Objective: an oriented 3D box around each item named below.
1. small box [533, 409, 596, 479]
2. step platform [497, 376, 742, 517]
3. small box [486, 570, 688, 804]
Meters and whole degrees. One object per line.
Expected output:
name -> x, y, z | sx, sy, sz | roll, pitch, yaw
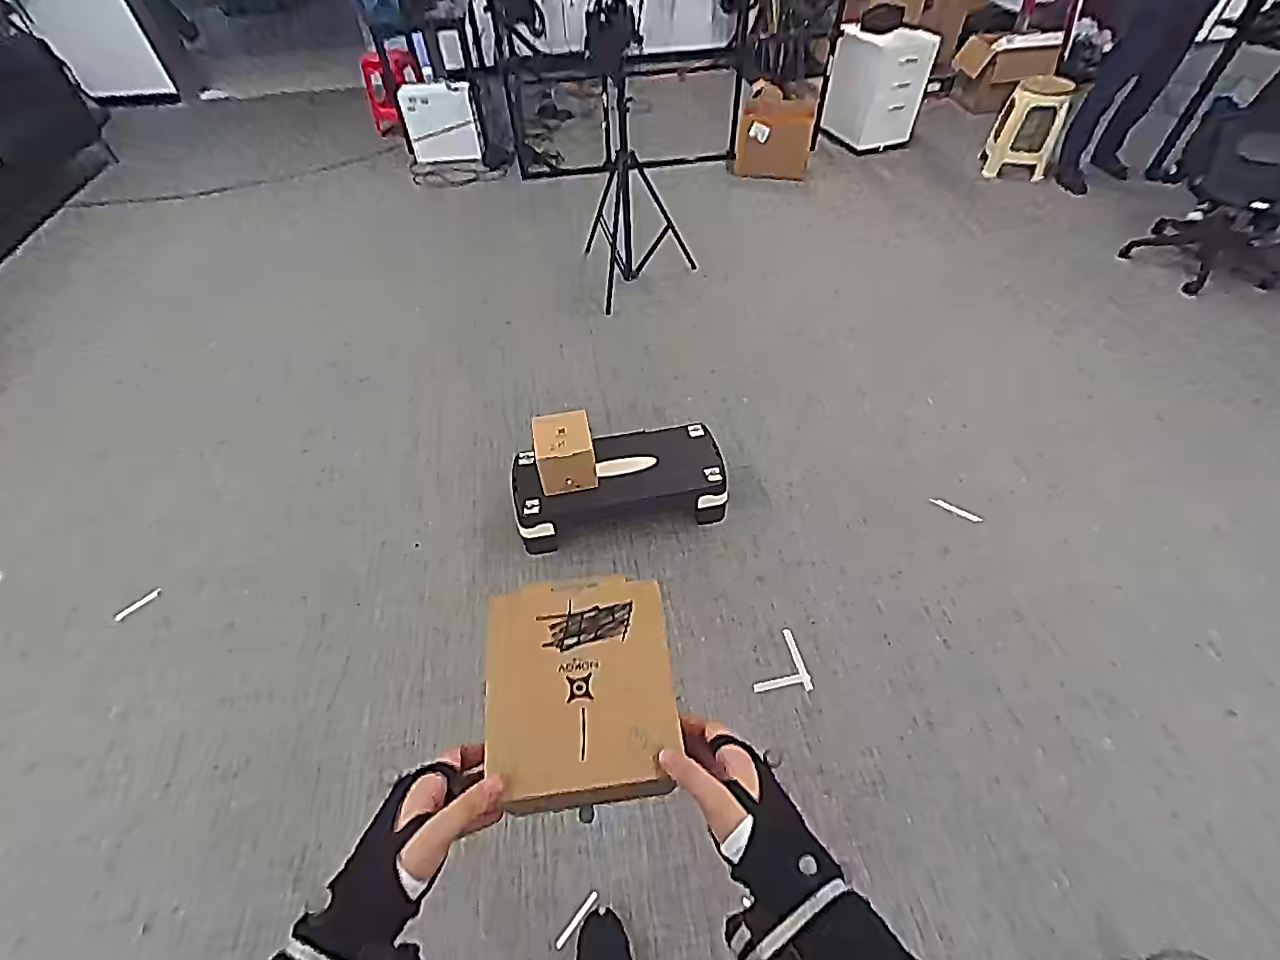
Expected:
small box -> -0.227, -0.086, 1.632 | 0.168, 0.176, 0.179 | -10, 51, -6
step platform -> -0.058, -0.100, 1.592 | 0.684, 0.204, 0.286 | -10, 51, -7
small box -> -0.055, 0.211, 0.547 | 0.168, 0.176, 0.179 | -5, 56, -6
